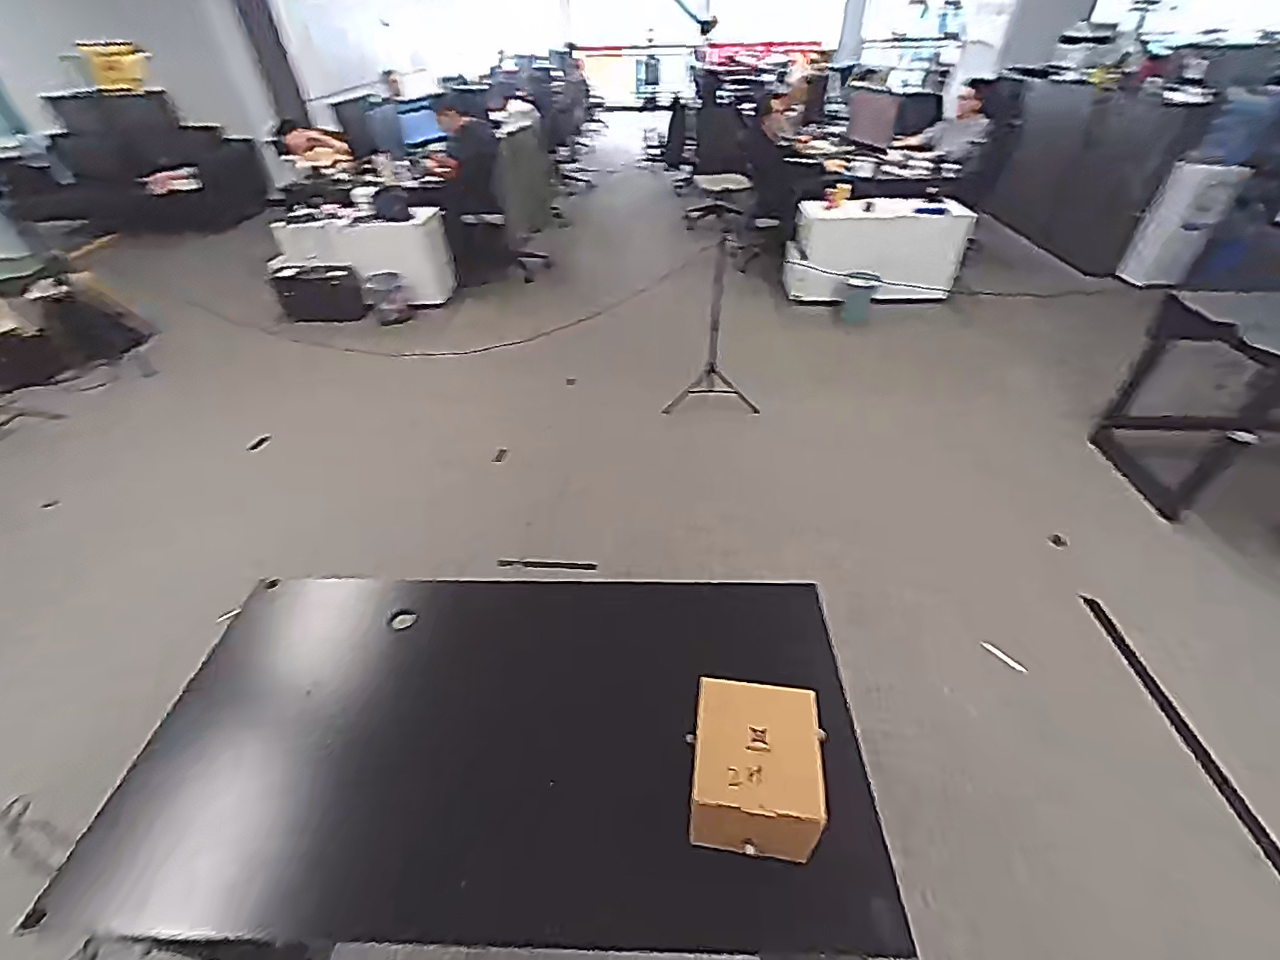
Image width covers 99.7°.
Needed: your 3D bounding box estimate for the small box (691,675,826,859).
[{"bbox_3d":[0.164,0.414,0.785,0.168,0.176,0.179,4,41,8],"label":"small box"}]
